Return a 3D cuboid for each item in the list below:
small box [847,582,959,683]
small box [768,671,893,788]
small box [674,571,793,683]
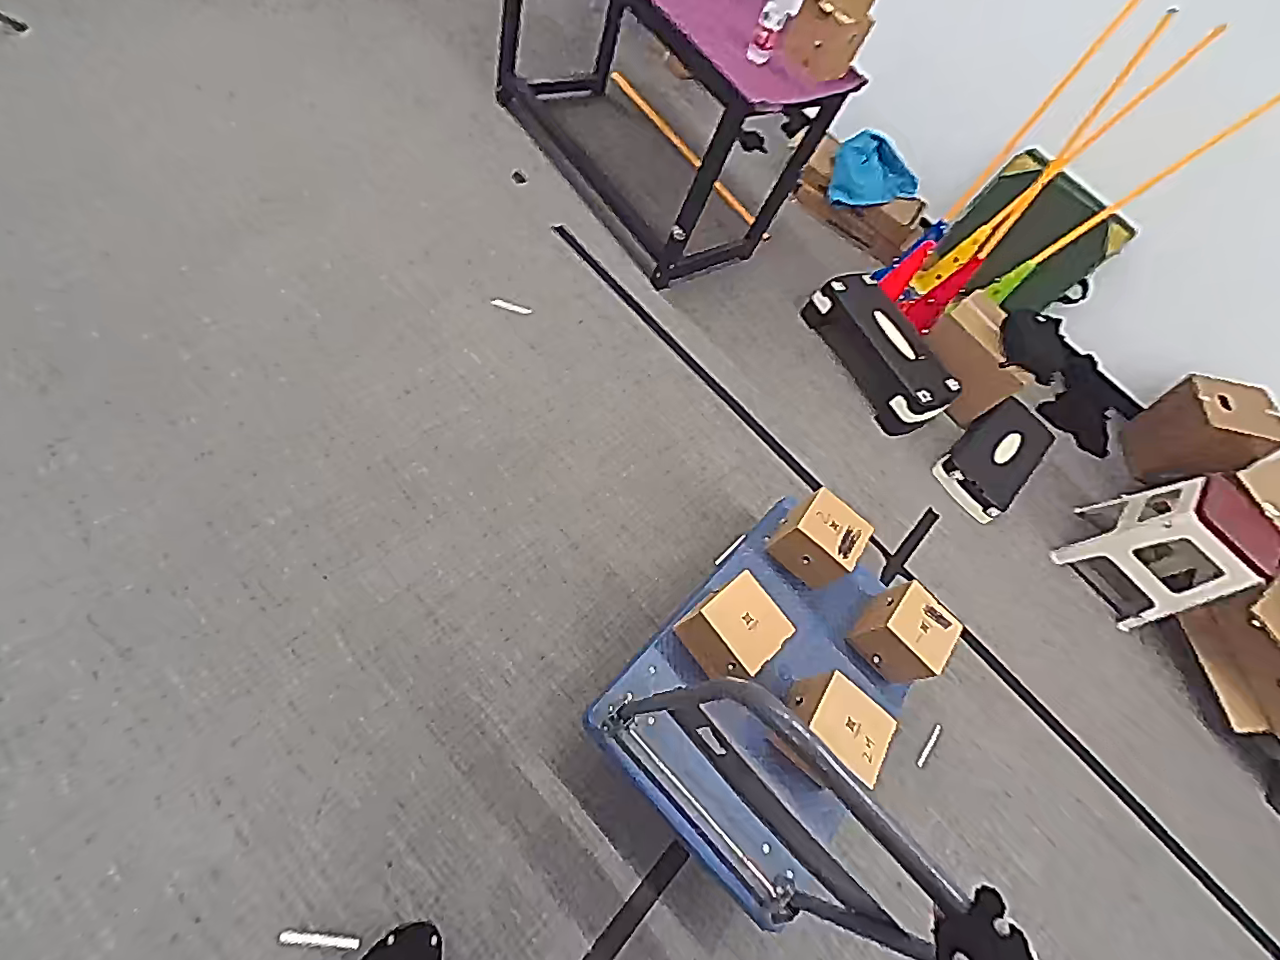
[{"bbox_3d":[0.674,0.399,1.402,0.168,0.176,0.179,46,59,7],"label":"small box"},{"bbox_3d":[0.422,0.565,1.219,0.179,0.176,0.168,42,57,4],"label":"small box"},{"bbox_3d":[0.209,0.346,1.256,0.168,0.176,0.179,-33,80,-32],"label":"small box"}]
